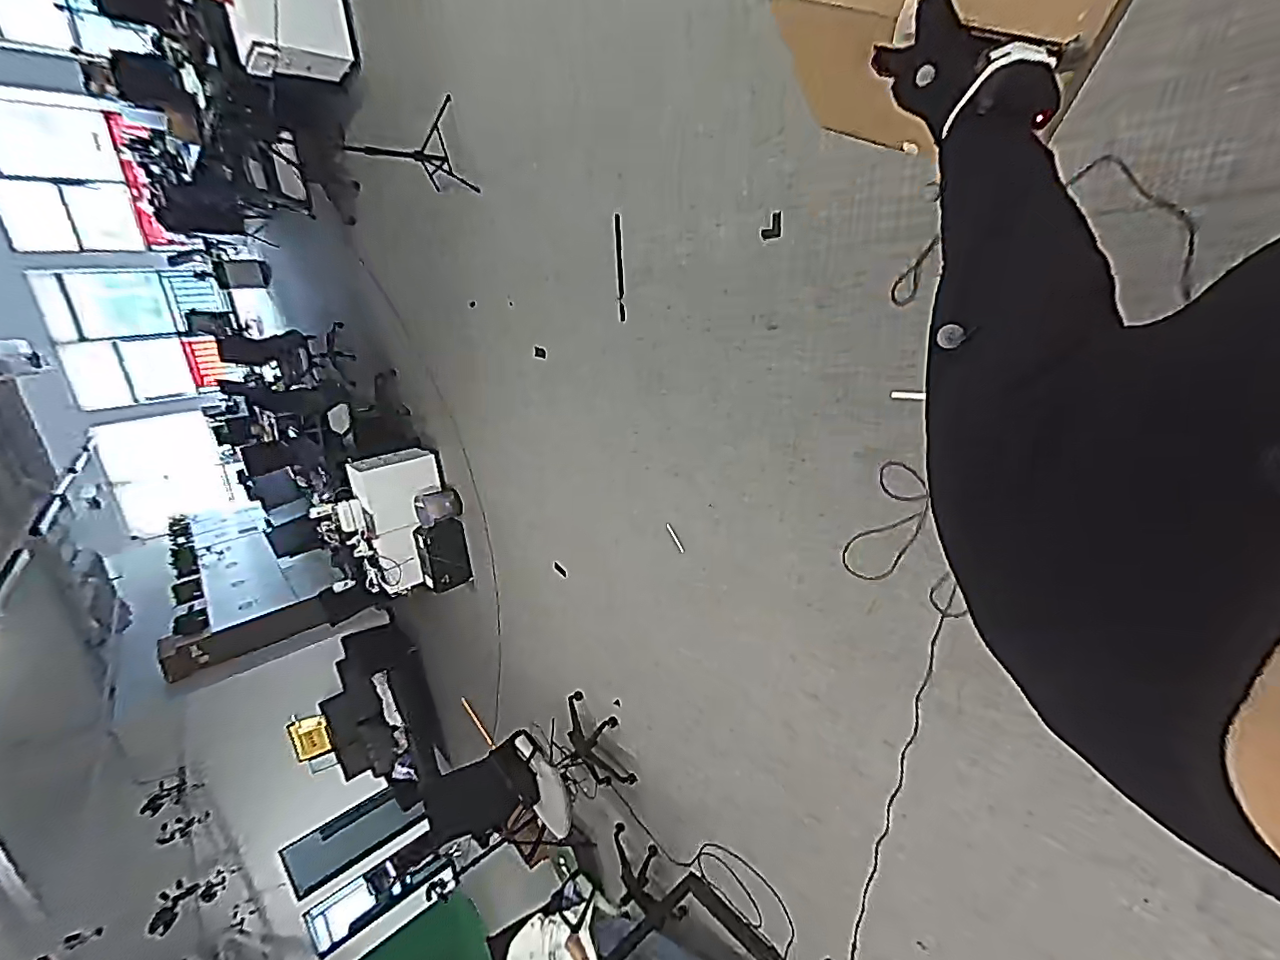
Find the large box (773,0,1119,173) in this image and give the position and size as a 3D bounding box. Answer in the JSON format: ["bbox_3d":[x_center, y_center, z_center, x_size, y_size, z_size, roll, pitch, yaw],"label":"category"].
[{"bbox_3d":[0.403,-0.640,0.602,0.320,0.320,0.408,30,111,22],"label":"large box"}]
